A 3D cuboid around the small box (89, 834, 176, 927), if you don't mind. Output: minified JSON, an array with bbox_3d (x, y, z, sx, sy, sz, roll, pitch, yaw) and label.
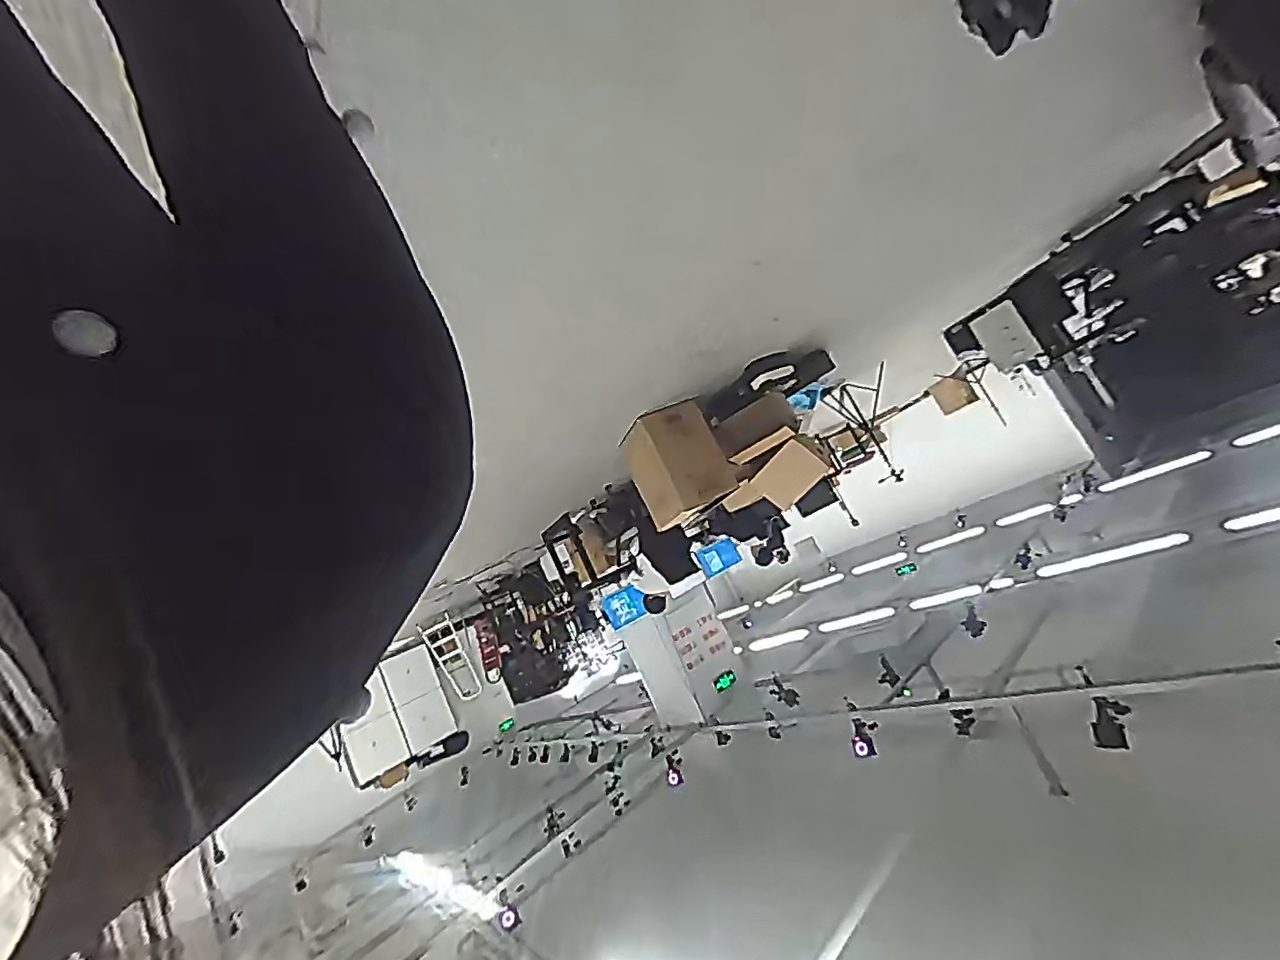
[{"bbox_3d":[-1.646,1.288,1.754,0.179,0.176,0.168,-18,168,-40],"label":"small box"}]
